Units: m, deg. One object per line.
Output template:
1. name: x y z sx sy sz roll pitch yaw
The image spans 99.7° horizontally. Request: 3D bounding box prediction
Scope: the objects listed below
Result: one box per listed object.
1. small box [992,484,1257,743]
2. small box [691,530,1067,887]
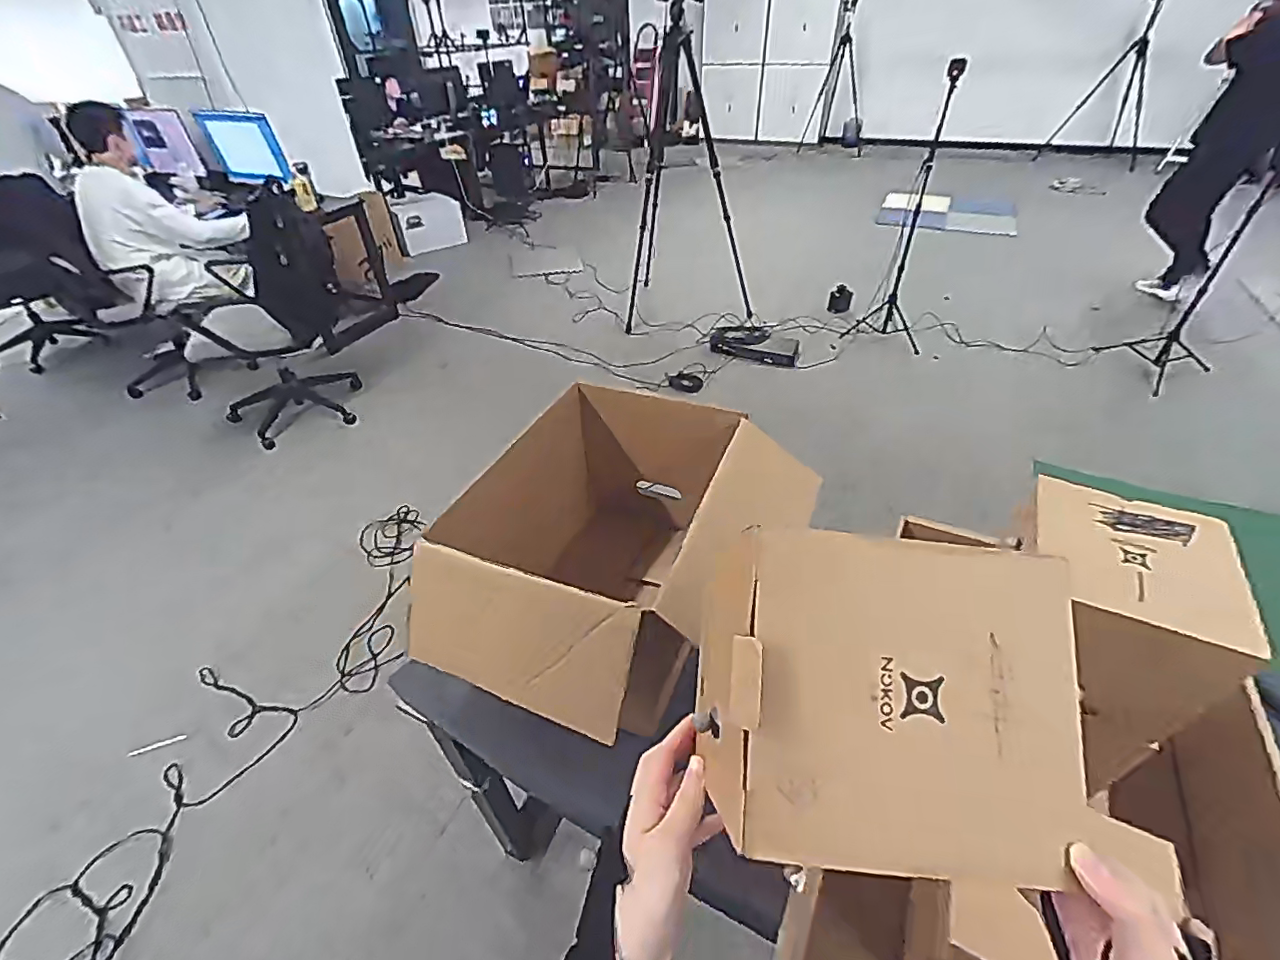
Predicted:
1. small box: 0.479 0.139 0.581 0.168 0.176 0.179 19 47 22
2. small box: 0.134 0.133 0.366 0.179 0.176 0.168 7 78 -2
